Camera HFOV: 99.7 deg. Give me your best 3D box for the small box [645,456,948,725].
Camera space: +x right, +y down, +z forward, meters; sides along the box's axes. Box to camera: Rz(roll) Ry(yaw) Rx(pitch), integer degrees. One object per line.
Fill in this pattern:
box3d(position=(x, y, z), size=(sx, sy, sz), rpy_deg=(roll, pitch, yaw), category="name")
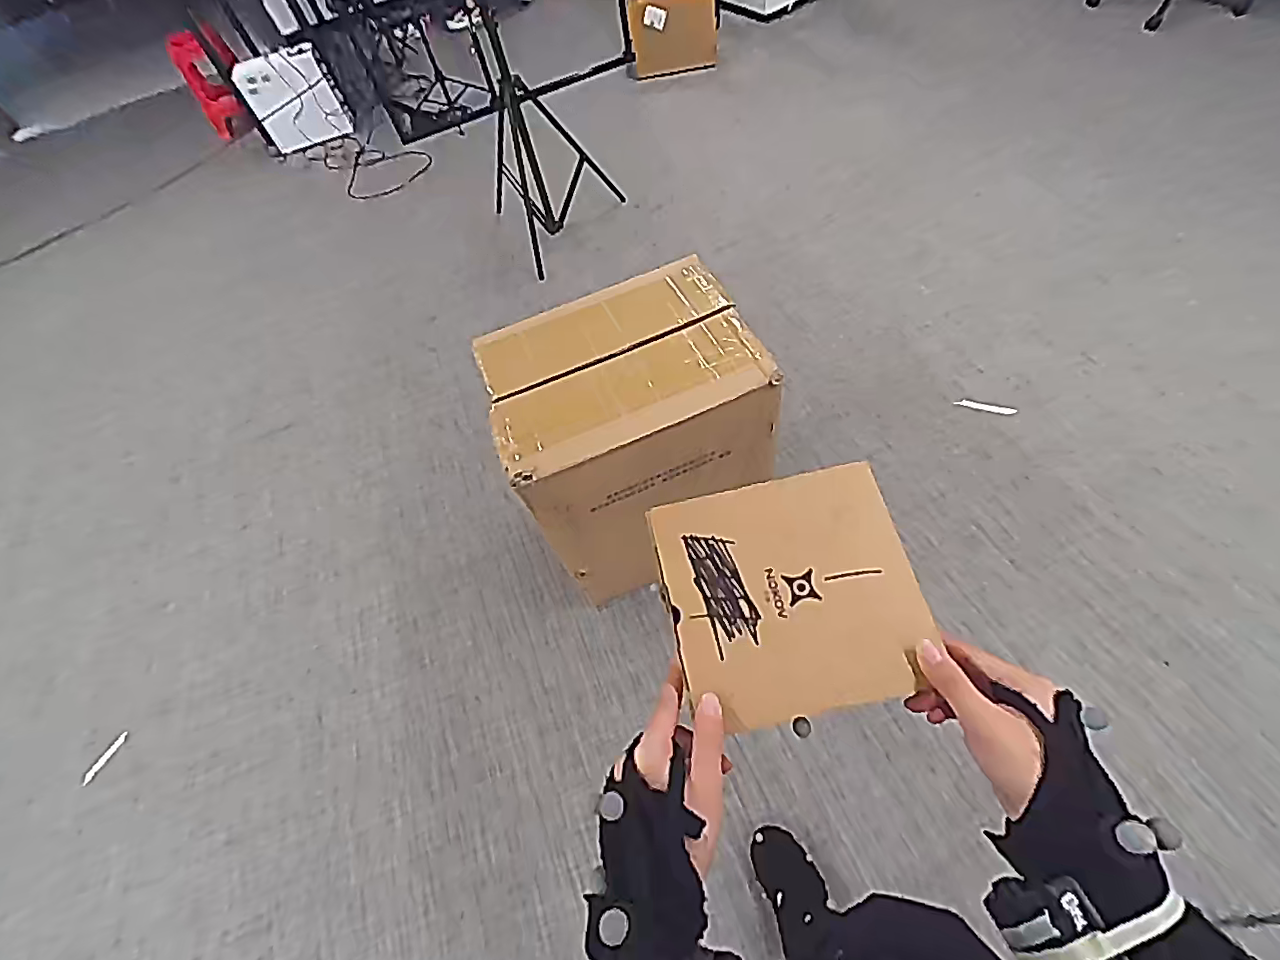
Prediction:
box3d(position=(0.111, 0.104, 0.457), size=(0.179, 0.176, 0.168), rpy_deg=(-13, 67, 0), category="small box")
